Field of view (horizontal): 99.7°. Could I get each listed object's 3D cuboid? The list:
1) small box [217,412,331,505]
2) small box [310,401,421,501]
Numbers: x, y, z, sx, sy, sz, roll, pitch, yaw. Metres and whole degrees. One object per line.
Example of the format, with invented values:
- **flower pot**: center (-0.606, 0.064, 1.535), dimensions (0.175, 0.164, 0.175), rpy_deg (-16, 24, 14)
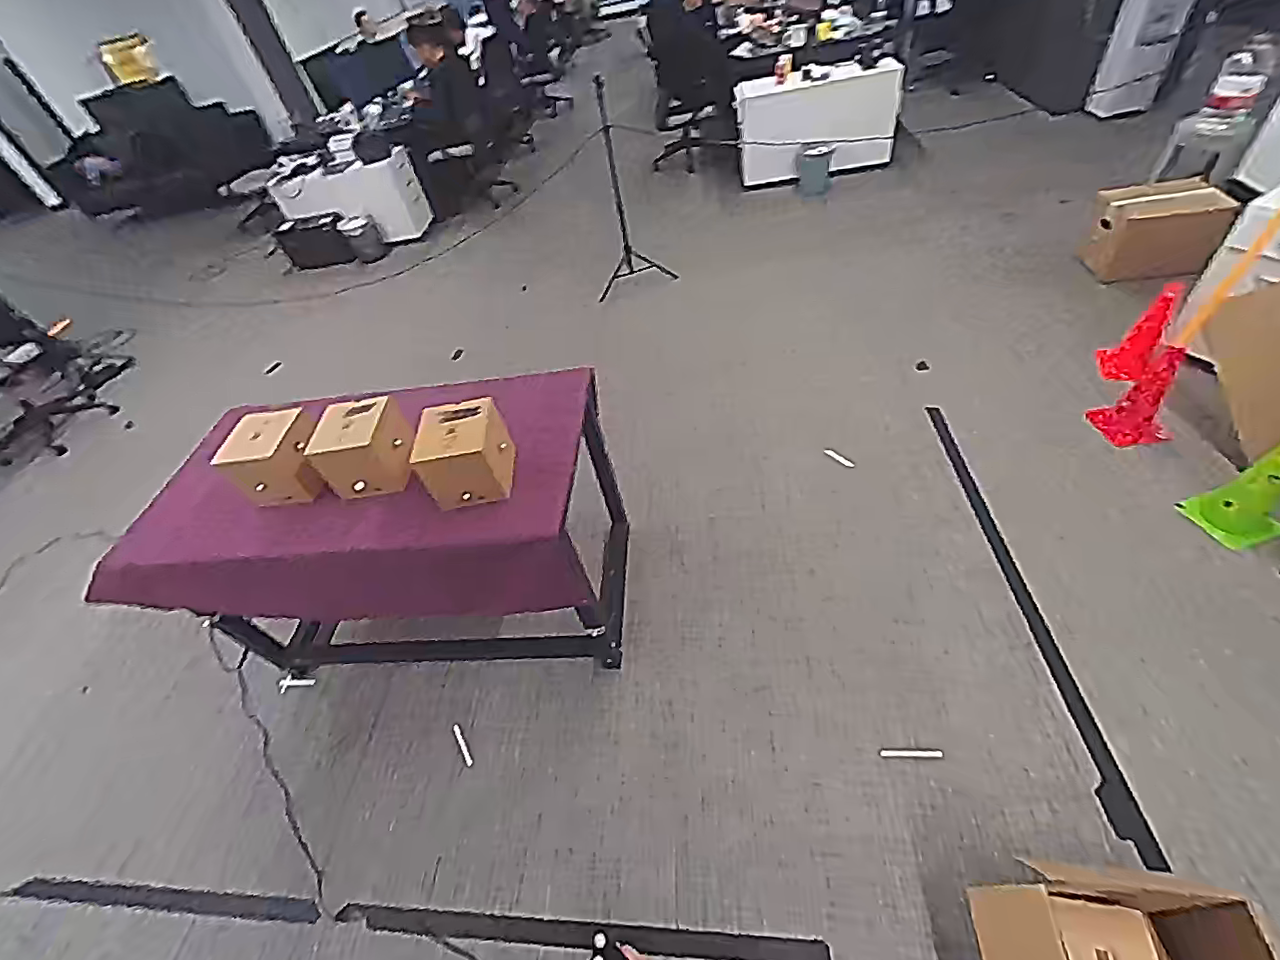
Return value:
- **small box**: center (-0.915, -0.048, 1.391), dimensions (0.168, 0.176, 0.179), rpy_deg (-6, 47, 8)
- **small box**: center (-0.676, -0.072, 1.358), dimensions (0.168, 0.176, 0.179), rpy_deg (-8, 47, 6)
